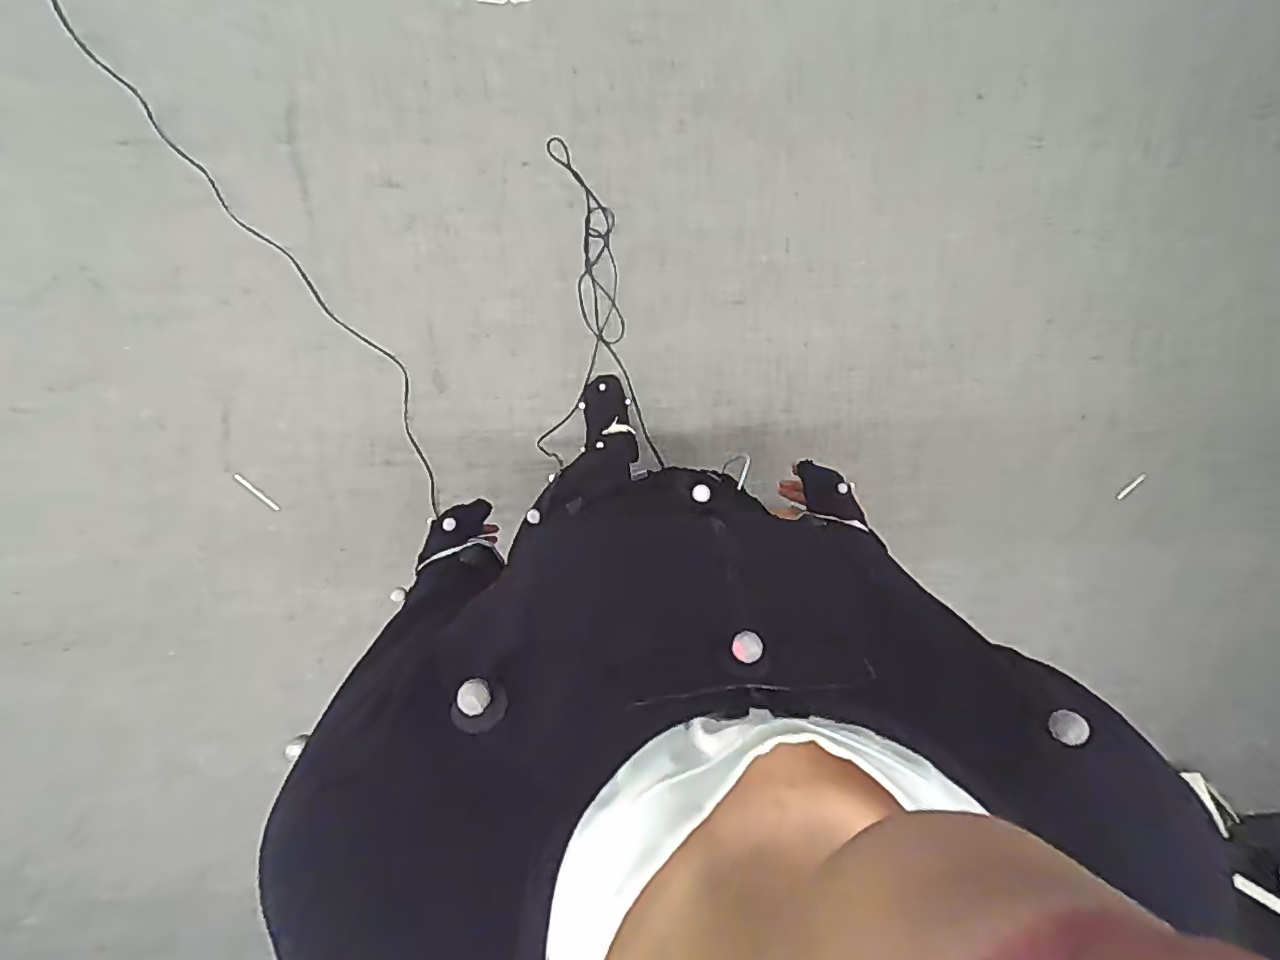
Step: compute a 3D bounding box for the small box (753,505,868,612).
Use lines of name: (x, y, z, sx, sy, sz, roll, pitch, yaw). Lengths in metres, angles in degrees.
small box: (0.383, 0.171, 1.252, 0.168, 0.176, 0.179, 27, 93, -5)
